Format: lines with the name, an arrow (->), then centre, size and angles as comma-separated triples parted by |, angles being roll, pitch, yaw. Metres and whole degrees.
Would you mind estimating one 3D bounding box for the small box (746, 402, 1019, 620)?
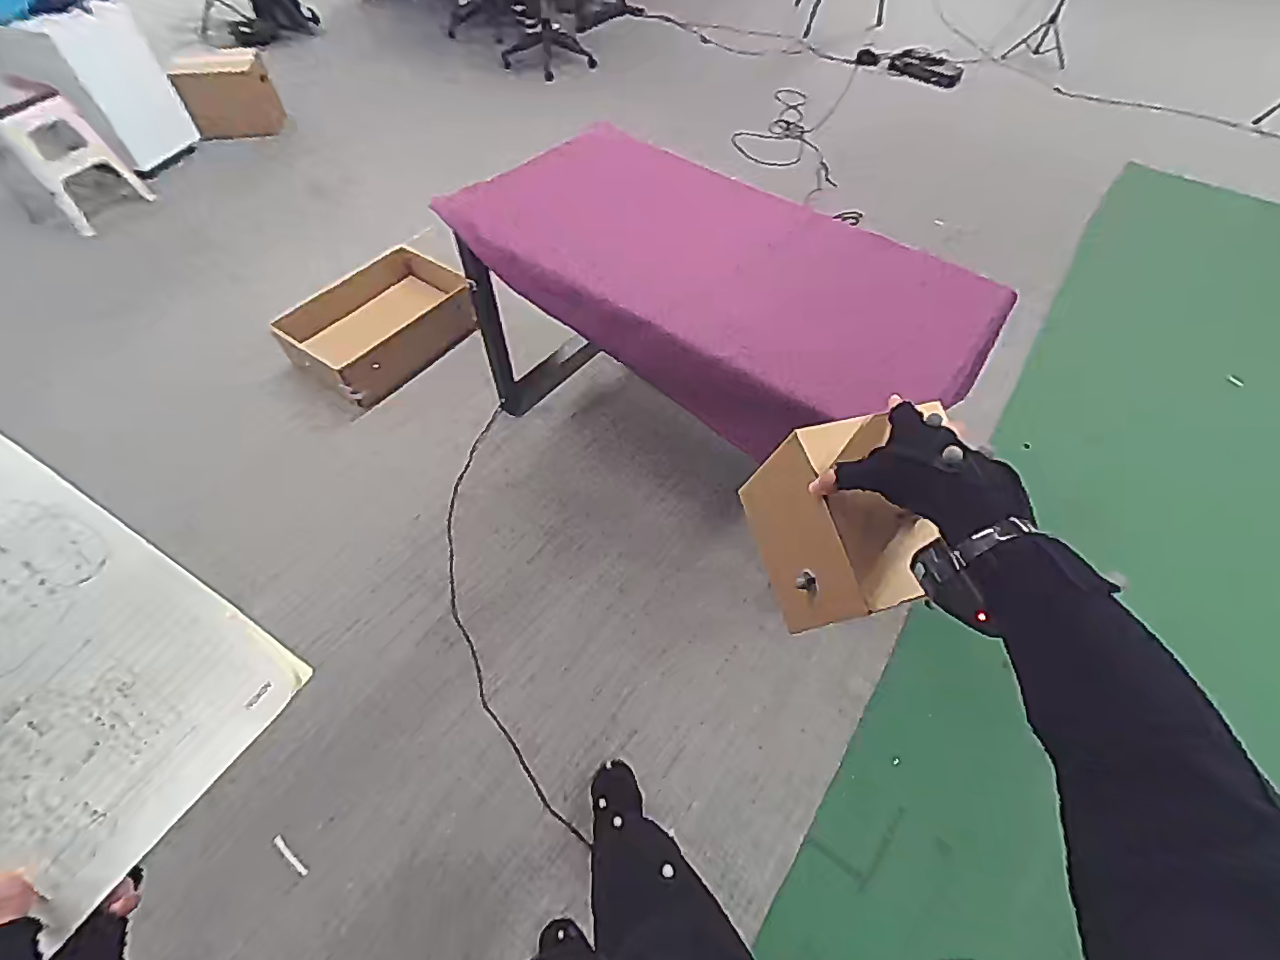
small box -> 0.234, 0.042, 0.571 | 0.168, 0.176, 0.179 | -11, 70, -14
